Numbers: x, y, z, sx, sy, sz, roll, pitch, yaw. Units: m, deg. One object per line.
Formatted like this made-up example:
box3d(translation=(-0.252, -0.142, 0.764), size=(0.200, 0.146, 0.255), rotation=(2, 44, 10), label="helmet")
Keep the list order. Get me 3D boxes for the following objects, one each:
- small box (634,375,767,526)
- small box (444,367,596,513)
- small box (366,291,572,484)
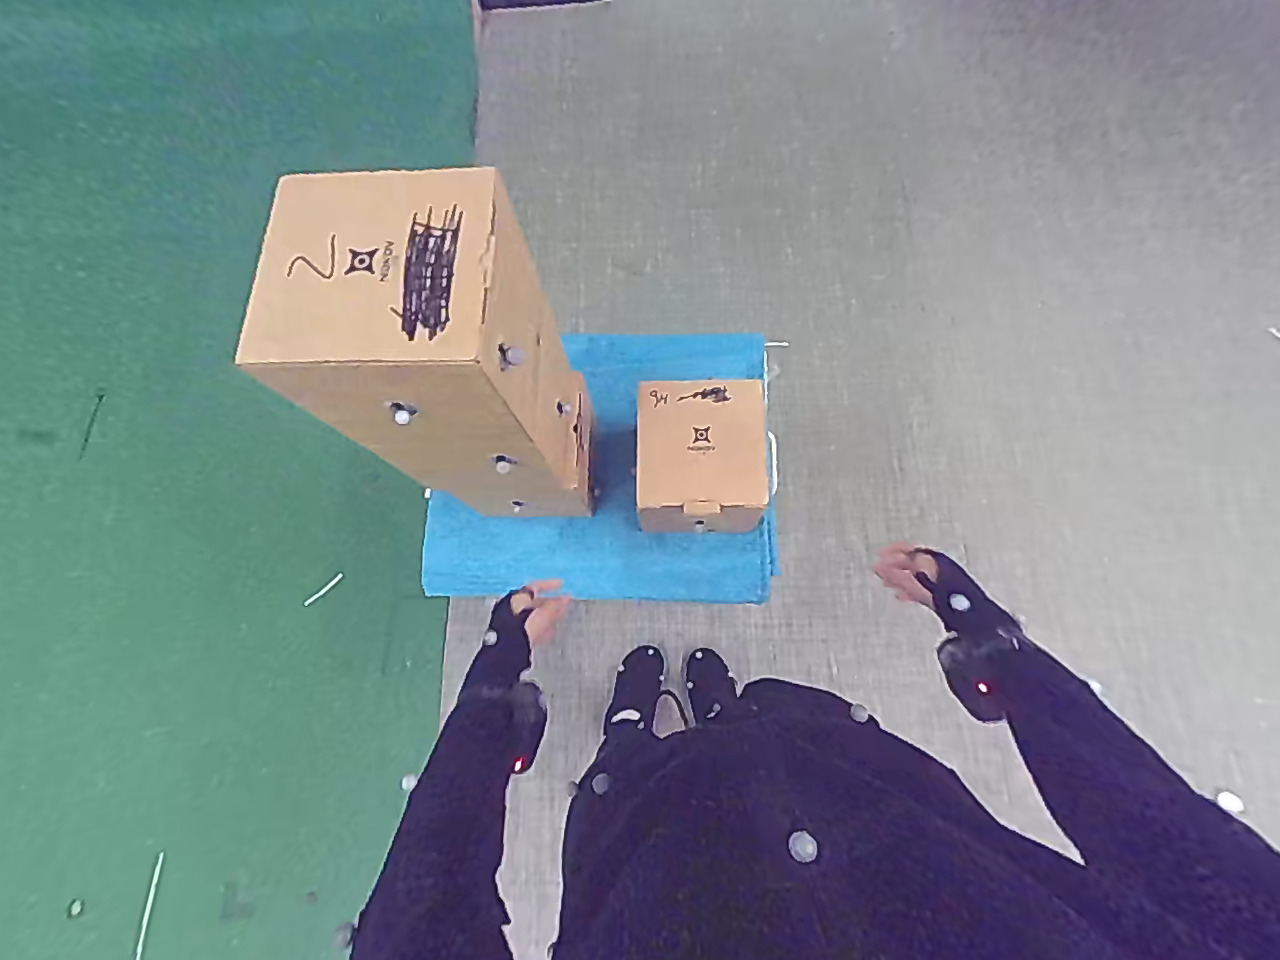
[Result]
box3d(translation=(0.082, -0.033, 0.762), size=(0.168, 0.176, 0.179), rotation=(1, 74, 3), label="small box")
box3d(translation=(-0.160, -0.052, 0.779), size=(0.179, 0.176, 0.168), rotation=(0, 73, 3), label="small box")
box3d(translation=(-0.177, -0.097, 0.622), size=(0.179, 0.176, 0.168), rotation=(0, 73, 3), label="small box")
